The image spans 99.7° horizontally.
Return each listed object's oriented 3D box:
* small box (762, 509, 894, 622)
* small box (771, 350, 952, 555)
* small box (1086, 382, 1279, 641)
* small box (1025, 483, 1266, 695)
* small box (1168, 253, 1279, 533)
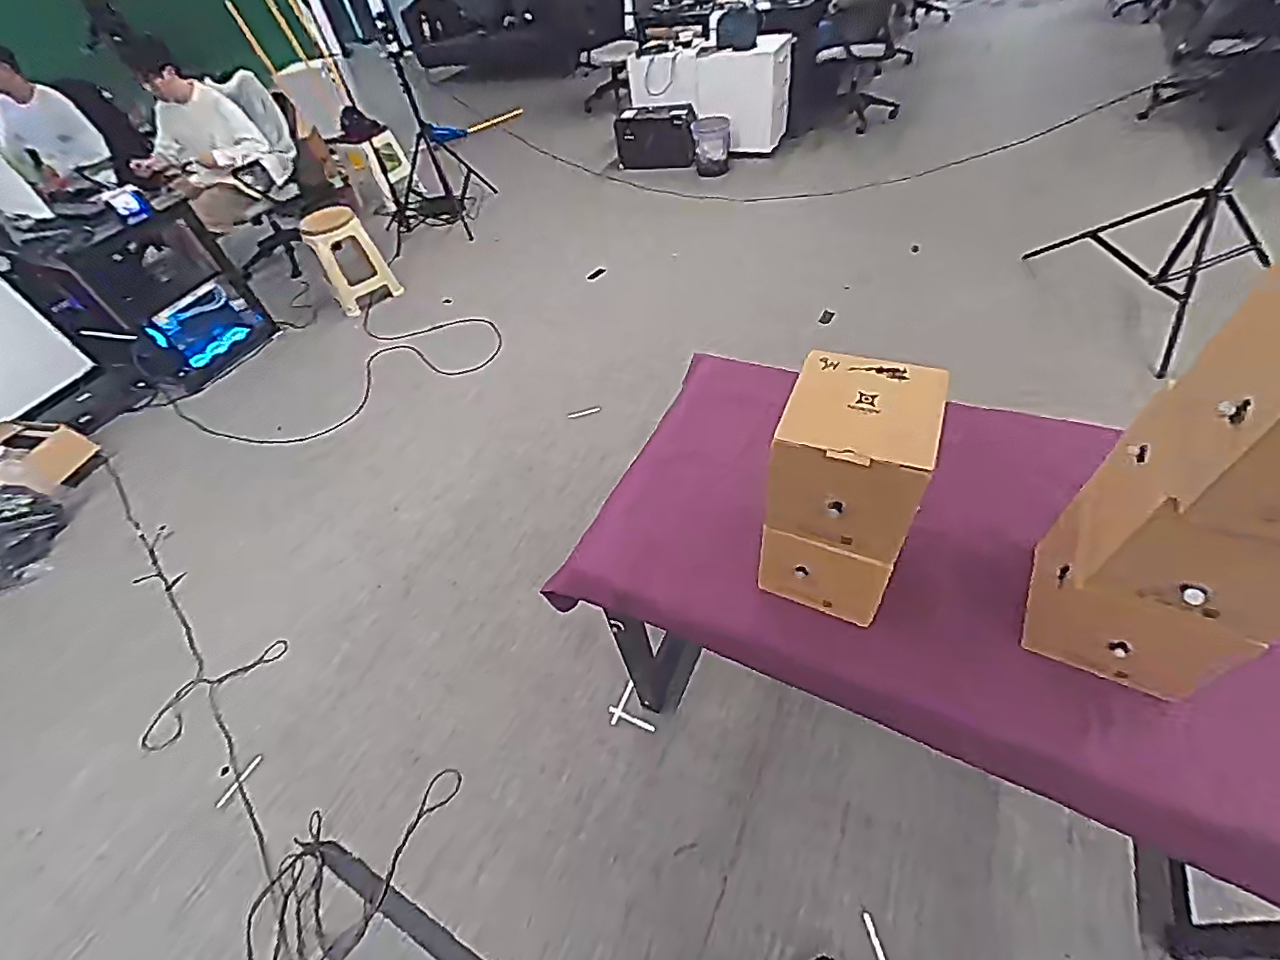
[{"bbox_3d":[0.286,0.079,0.795,0.168,0.176,0.179,18,54,23],"label":"small box"},{"bbox_3d":[0.267,-0.033,0.677,0.168,0.176,0.179,16,54,21],"label":"small box"},{"bbox_3d":[0.602,0.032,0.561,0.168,0.176,0.179,19,56,24],"label":"small box"},{"bbox_3d":[0.619,0.140,0.684,0.168,0.176,0.179,20,55,24],"label":"small box"},{"bbox_3d":[0.572,-0.057,0.427,0.168,0.176,0.179,17,54,22],"label":"small box"}]
